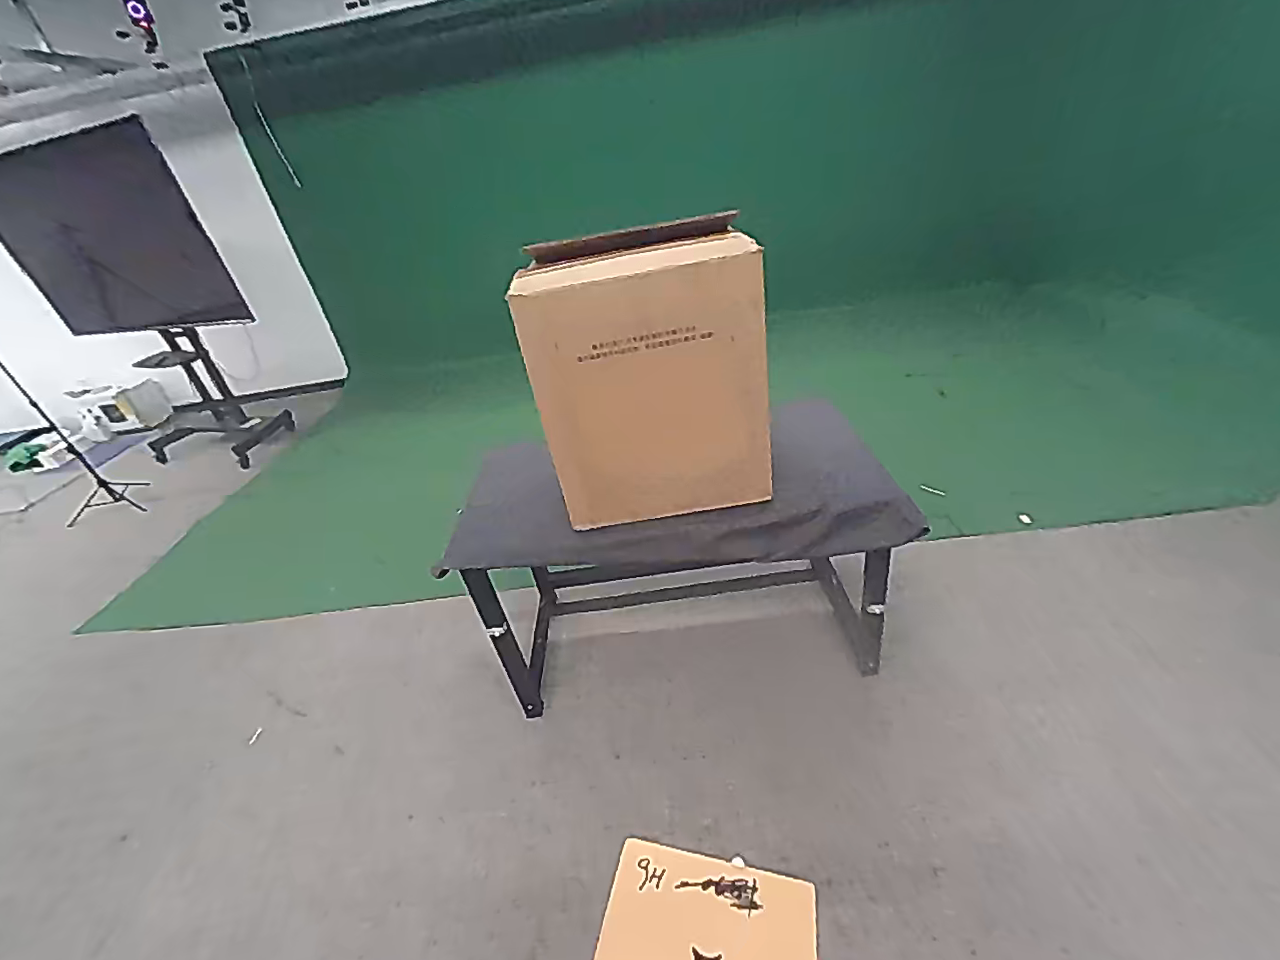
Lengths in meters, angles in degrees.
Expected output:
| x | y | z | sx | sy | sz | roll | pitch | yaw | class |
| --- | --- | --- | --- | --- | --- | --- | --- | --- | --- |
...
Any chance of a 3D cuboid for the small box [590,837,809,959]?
| x | y | z | sx | sy | sz | roll | pitch | yaw | class |
| --- | --- | --- | --- | --- | --- | --- | --- | --- | --- |
| 0.046 | 0.443 | 0.440 | 0.168 | 0.176 | 0.179 | 5 | 30 | 13 | small box |
